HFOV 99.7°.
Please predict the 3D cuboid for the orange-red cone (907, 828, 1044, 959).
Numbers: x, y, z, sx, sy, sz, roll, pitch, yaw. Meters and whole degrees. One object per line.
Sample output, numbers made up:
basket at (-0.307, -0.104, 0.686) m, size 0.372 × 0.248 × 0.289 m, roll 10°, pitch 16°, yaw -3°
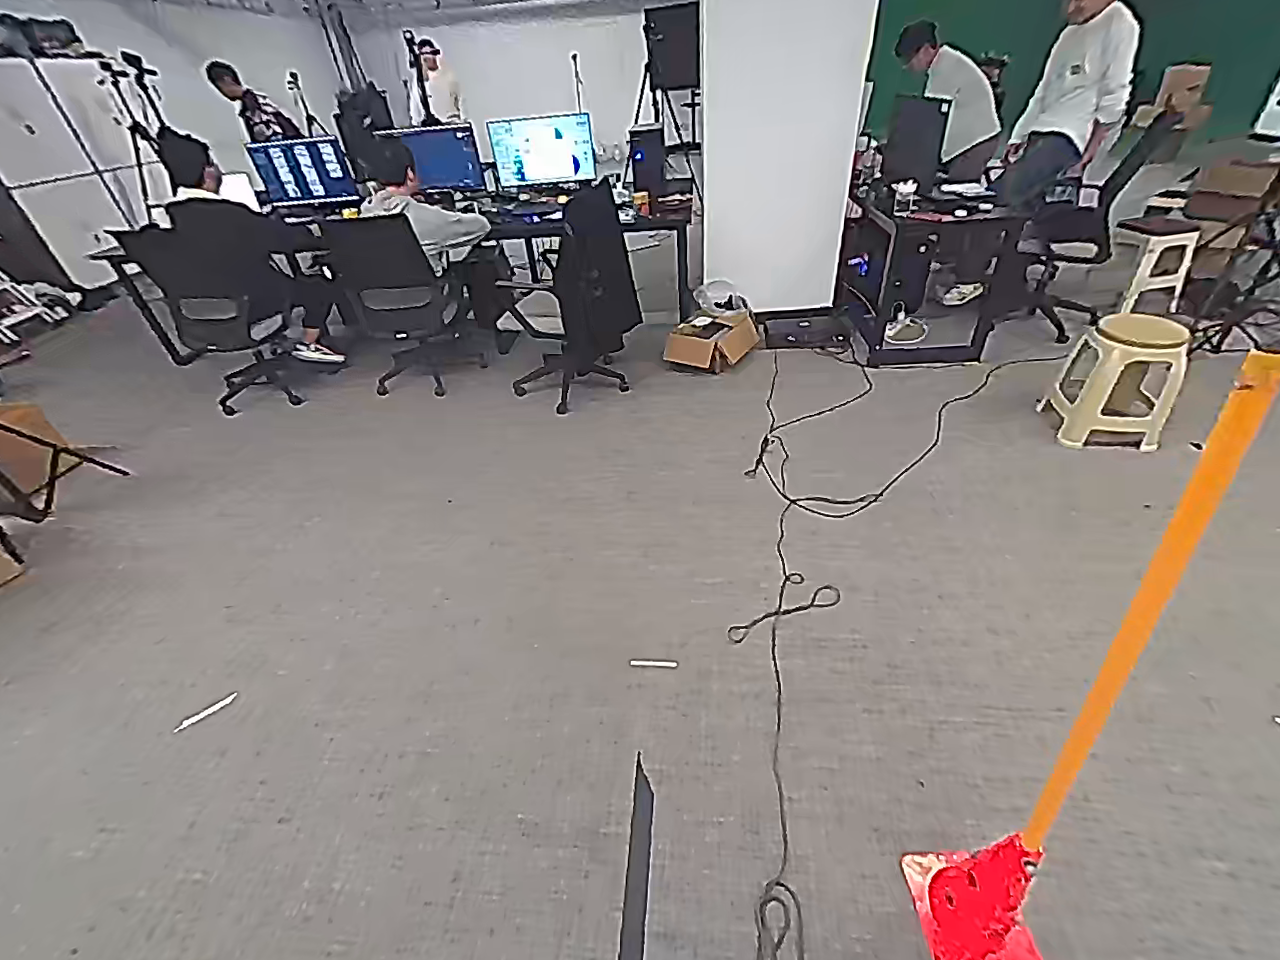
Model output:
orange-red cone at (0.646, 0.725, 0.977) m, size 0.199 × 0.360 × 0.198 m, roll -5°, pitch 36°, yaw 4°
